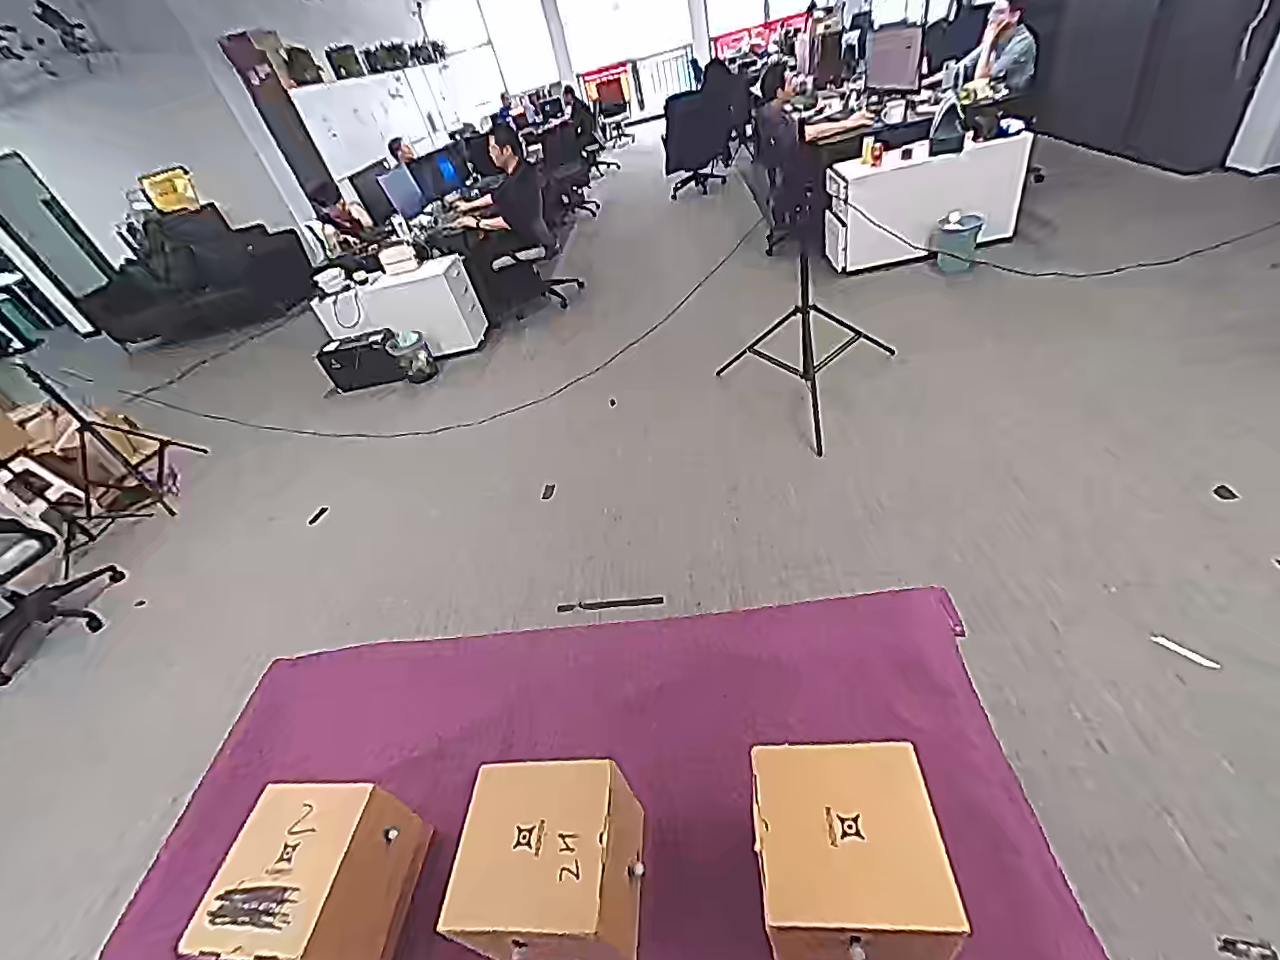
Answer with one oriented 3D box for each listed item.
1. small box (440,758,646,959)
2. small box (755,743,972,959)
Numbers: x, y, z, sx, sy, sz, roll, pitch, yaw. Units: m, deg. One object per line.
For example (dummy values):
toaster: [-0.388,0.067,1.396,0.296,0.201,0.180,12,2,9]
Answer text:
small box: [-0.100,0.456,0.650,0.179,0.176,0.168,-8,40,11]
small box: [0.227,0.409,0.591,0.179,0.176,0.168,-8,38,12]
